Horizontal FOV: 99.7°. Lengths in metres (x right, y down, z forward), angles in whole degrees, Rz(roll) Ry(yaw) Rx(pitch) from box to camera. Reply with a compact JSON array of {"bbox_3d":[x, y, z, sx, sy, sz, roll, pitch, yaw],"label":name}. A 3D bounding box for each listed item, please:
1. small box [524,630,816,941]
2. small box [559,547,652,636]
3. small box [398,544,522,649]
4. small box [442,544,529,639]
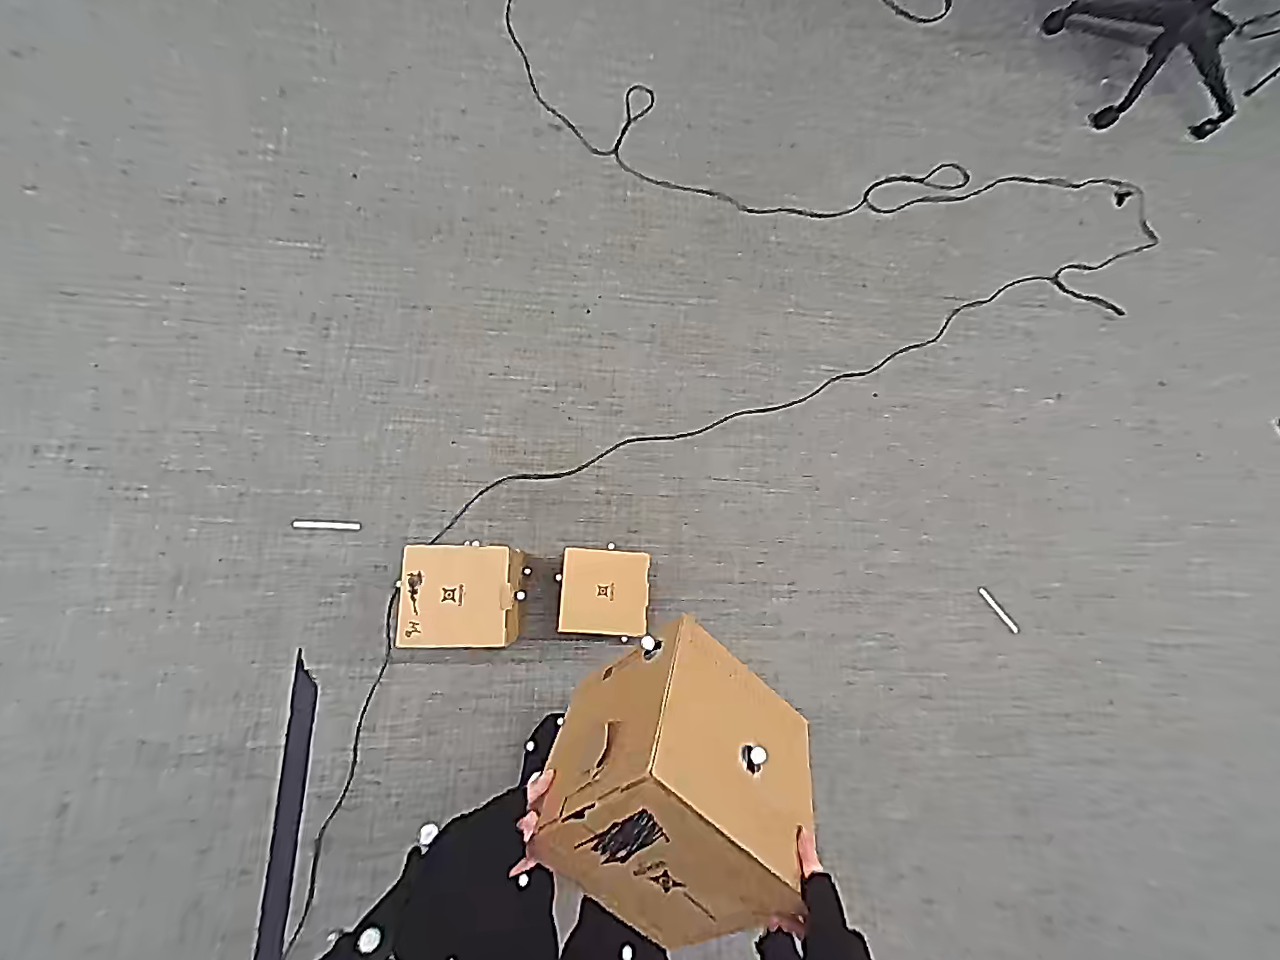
[{"bbox_3d":[0.033,0.264,0.494,0.179,0.176,0.168,43,118,-10],"label":"small box"},{"bbox_3d":[-0.077,0.239,1.157,0.179,0.176,0.168,5,79,-7],"label":"small box"},{"bbox_3d":[-0.308,0.205,0.965,0.179,0.176,0.168,3,79,-6],"label":"small box"},{"bbox_3d":[-0.326,0.230,1.126,0.168,0.176,0.179,3,80,-6],"label":"small box"}]
